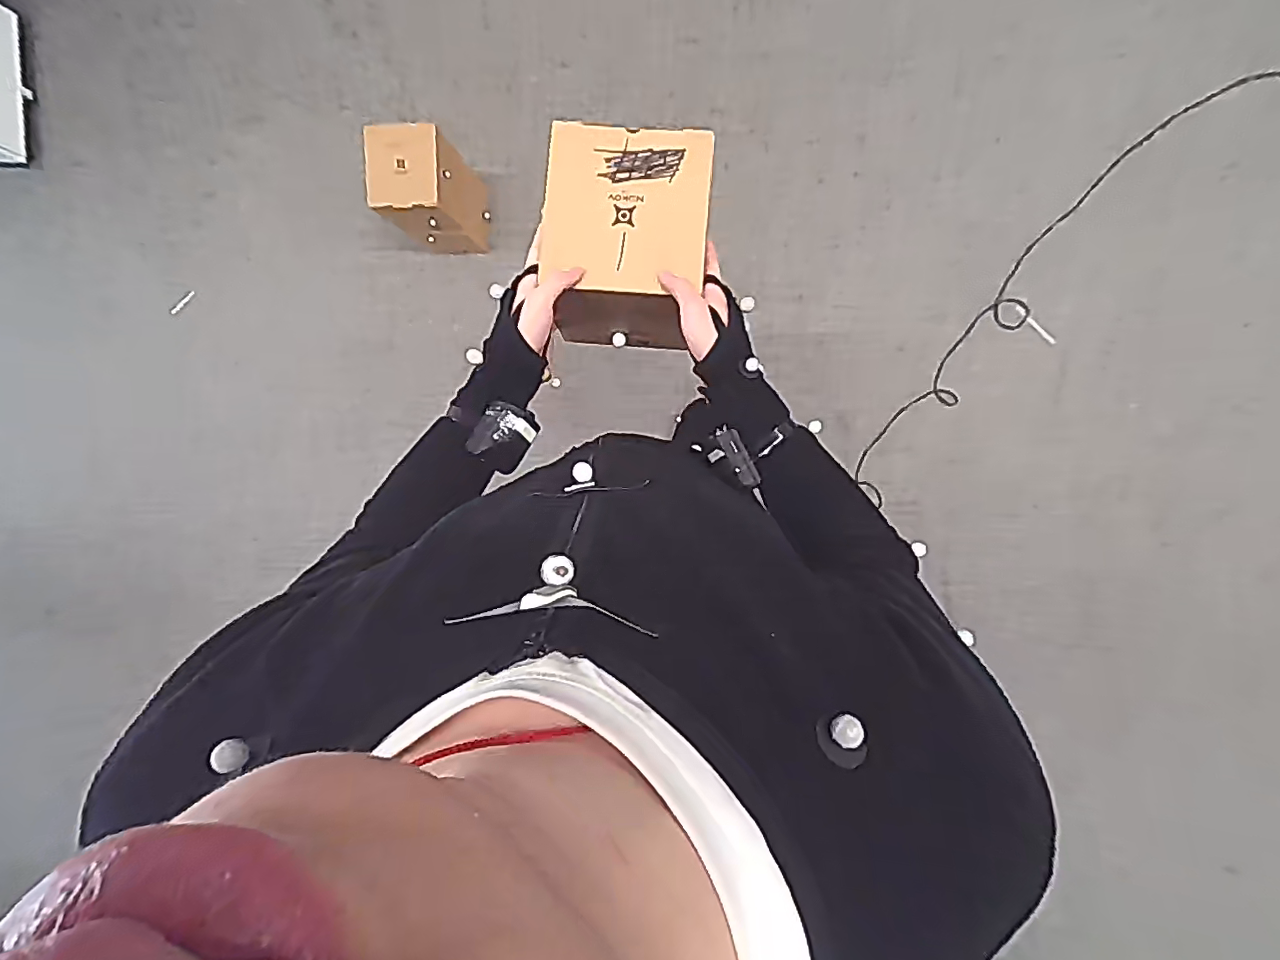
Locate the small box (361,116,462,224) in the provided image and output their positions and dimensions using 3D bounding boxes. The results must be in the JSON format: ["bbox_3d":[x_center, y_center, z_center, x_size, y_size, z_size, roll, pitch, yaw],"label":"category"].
[{"bbox_3d":[-0.530,-0.720,1.278,0.168,0.176,0.179,0,95,3],"label":"small box"}]

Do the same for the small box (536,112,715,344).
[{"bbox_3d":[-0.013,-0.272,0.617,0.168,0.176,0.179,5,87,2],"label":"small box"}]

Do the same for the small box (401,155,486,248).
[{"bbox_3d":[-0.518,-0.736,1.439,0.168,0.176,0.179,3,96,4],"label":"small box"}]
